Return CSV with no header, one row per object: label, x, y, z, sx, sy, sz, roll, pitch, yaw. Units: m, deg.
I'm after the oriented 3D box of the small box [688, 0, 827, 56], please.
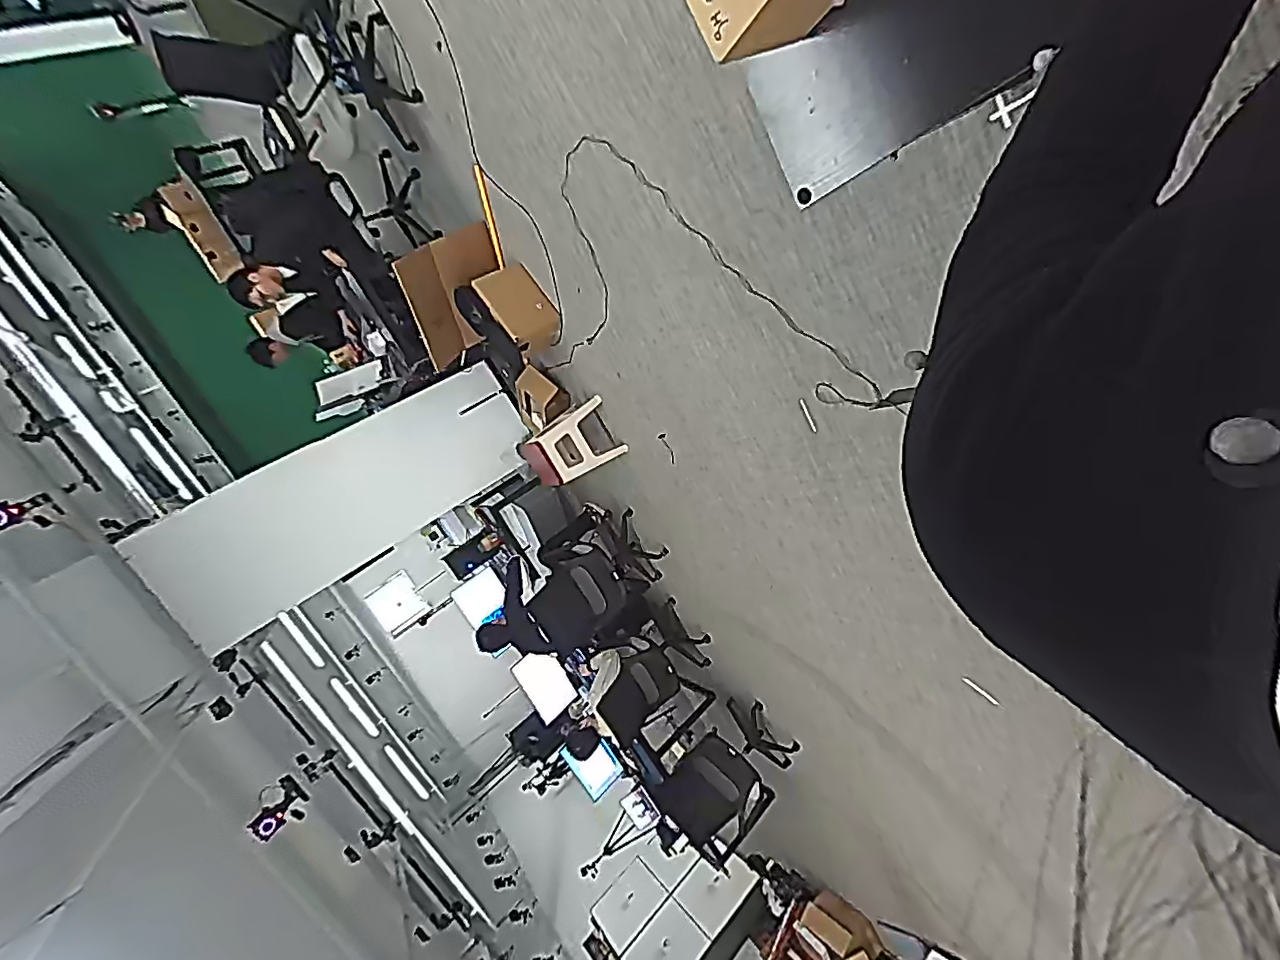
small box,0.146,-0.610,0.576,0.168,0.176,0.179,60,152,-11
